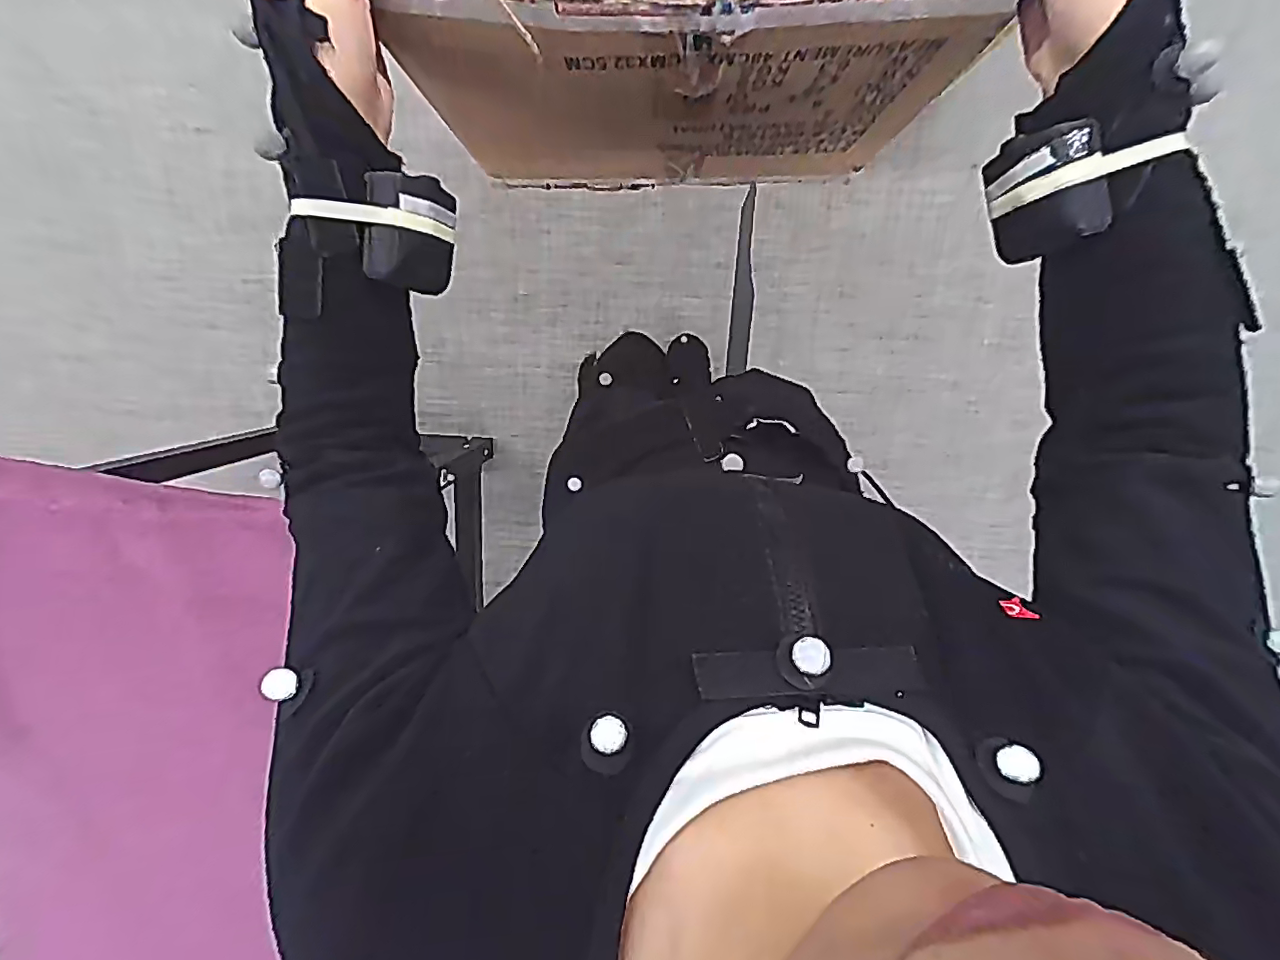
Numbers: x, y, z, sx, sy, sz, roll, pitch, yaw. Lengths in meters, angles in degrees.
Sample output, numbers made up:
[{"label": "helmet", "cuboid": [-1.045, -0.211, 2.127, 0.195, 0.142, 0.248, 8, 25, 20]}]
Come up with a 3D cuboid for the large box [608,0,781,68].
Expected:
[{"label": "large box", "cuboid": [0.099, -1.041, 0.970, 0.320, 0.320, 0.408, 2, 105, 3]}]
